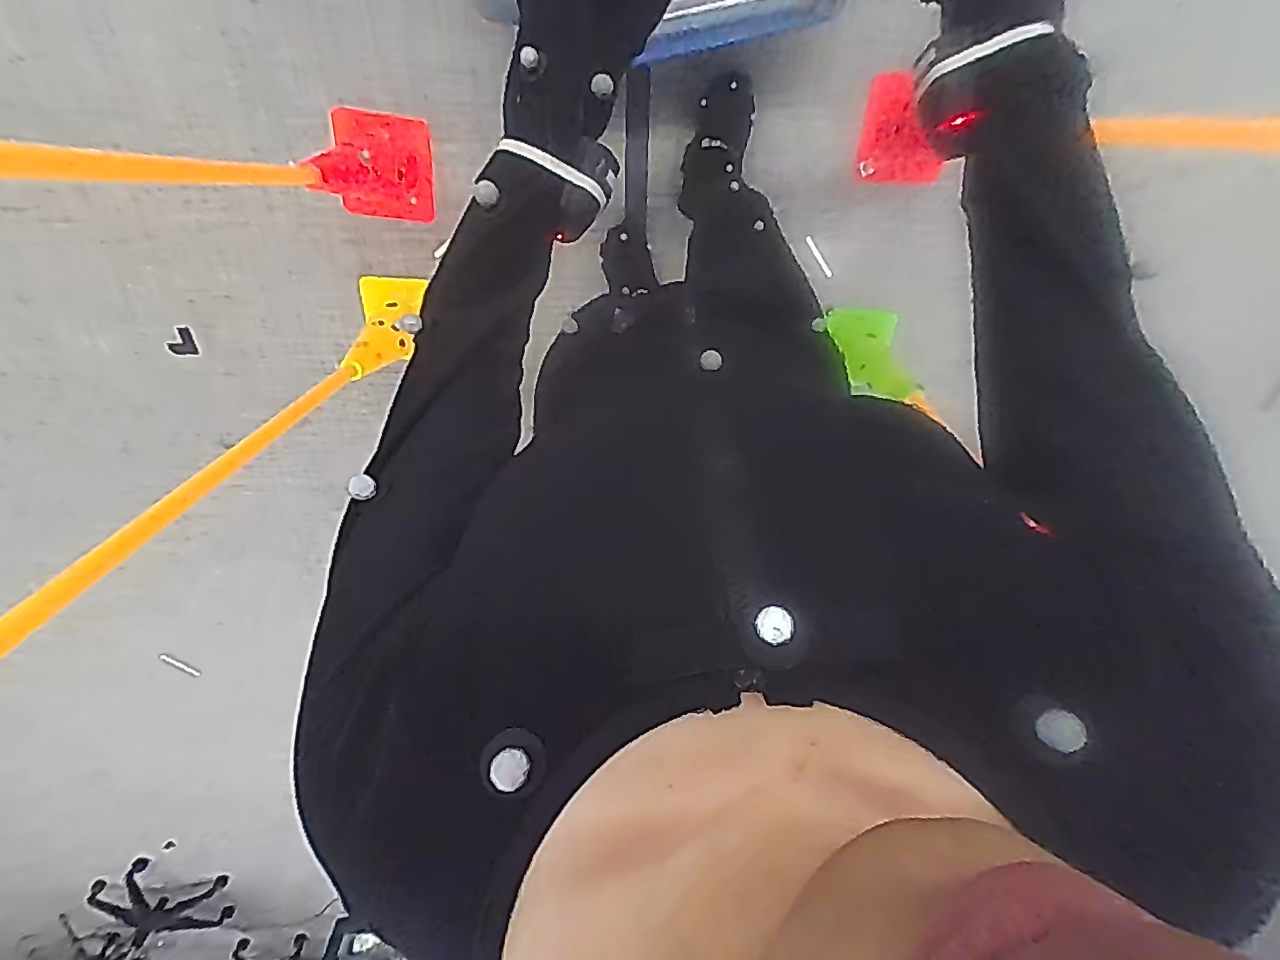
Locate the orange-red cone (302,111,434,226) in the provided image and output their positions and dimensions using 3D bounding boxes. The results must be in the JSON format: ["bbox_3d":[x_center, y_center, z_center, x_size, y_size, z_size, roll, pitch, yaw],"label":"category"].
[{"bbox_3d":[-0.540,-0.584,1.024,0.198,0.360,0.199,5,120,-7],"label":"orange-red cone"}]

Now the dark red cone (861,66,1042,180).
[{"bbox_3d":[0.591,-0.667,1.008,0.201,0.394,0.202,-2,122,-4],"label":"dark red cone"}]

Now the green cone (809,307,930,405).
[{"bbox_3d":[0.566,-0.262,1.274,0.202,0.368,0.200,2,121,-5],"label":"green cone"}]
